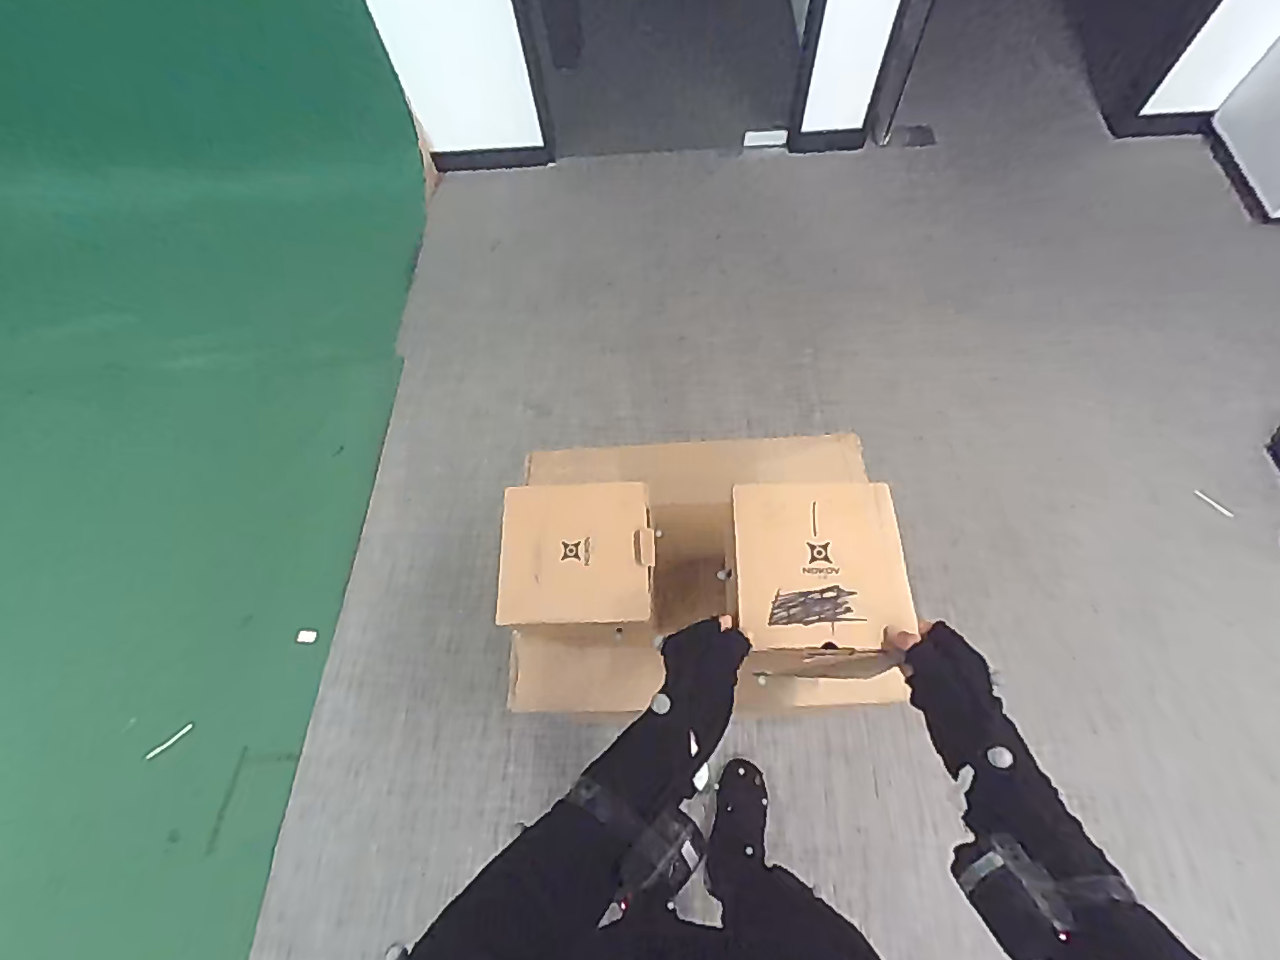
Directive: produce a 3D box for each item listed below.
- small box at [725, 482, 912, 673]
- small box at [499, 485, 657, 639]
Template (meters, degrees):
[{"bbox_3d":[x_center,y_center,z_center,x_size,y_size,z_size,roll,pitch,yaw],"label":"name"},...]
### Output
[{"bbox_3d":[0.184,0.118,0.615,0.168,0.176,0.179,-1,61,6],"label":"small box"},{"bbox_3d":[-0.068,0.114,0.706,0.179,0.176,0.168,-4,68,5],"label":"small box"}]
